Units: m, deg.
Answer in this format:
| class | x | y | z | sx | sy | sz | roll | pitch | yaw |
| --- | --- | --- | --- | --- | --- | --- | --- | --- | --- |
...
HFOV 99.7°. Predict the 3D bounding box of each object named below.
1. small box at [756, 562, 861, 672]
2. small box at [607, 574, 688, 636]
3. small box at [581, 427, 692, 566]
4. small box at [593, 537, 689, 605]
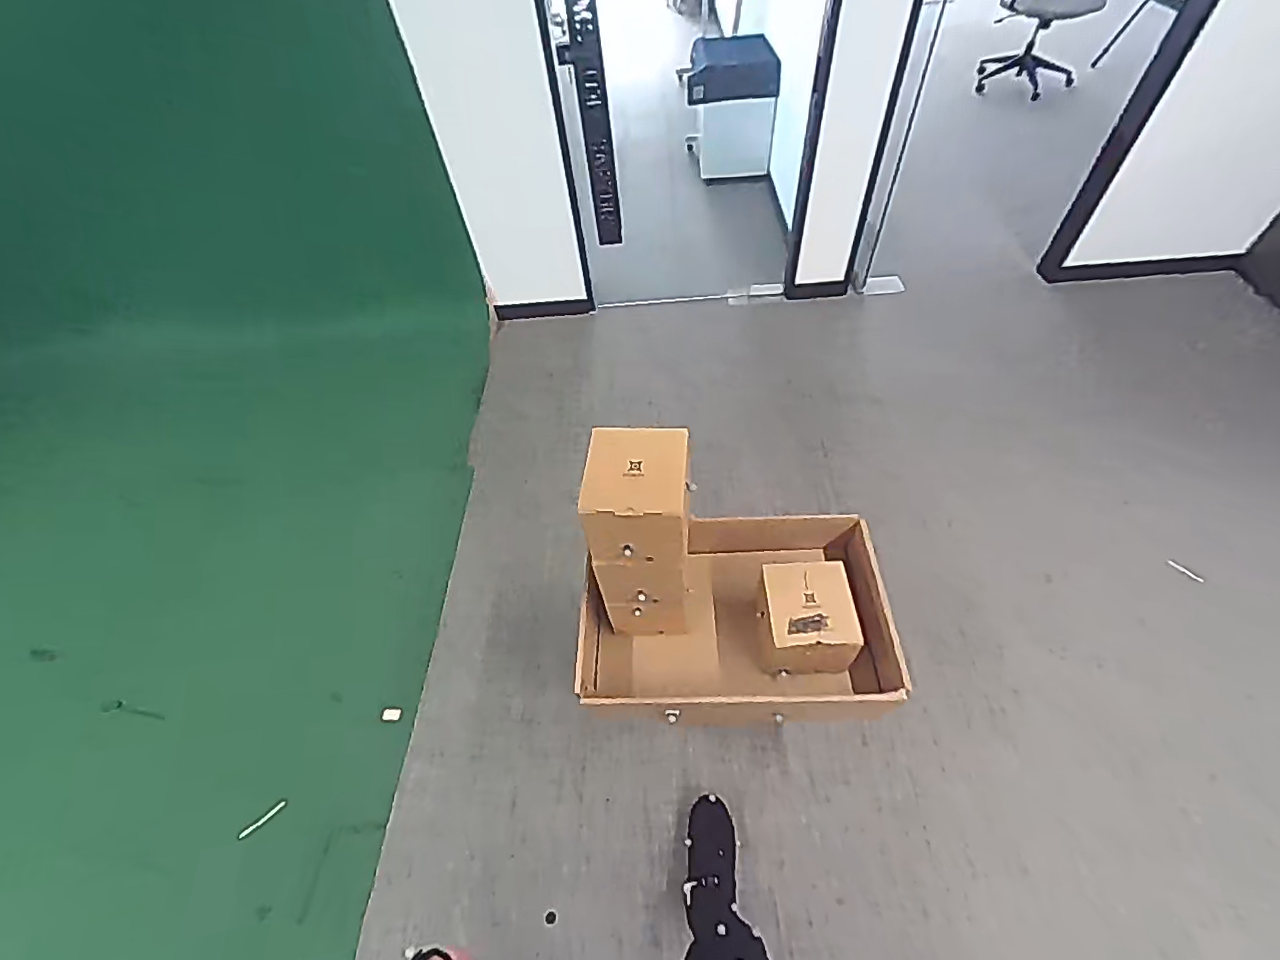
| class | x | y | z | sx | sy | sz | roll | pitch | yaw |
| --- | --- | --- | --- | --- | --- | --- | --- | --- | --- |
| small box | 0.337 | 0.287 | 1.114 | 0.168 | 0.176 | 0.179 | -2 | 52 | 3 |
| small box | 0.022 | 0.226 | 1.192 | 0.168 | 0.176 | 0.179 | 0 | 53 | 5 |
| small box | 0.002 | 0.029 | 0.934 | 0.168 | 0.176 | 0.179 | 2 | 53 | 7 |
| small box | 0.011 | 0.127 | 1.062 | 0.168 | 0.176 | 0.179 | 1 | 53 | 7 |
